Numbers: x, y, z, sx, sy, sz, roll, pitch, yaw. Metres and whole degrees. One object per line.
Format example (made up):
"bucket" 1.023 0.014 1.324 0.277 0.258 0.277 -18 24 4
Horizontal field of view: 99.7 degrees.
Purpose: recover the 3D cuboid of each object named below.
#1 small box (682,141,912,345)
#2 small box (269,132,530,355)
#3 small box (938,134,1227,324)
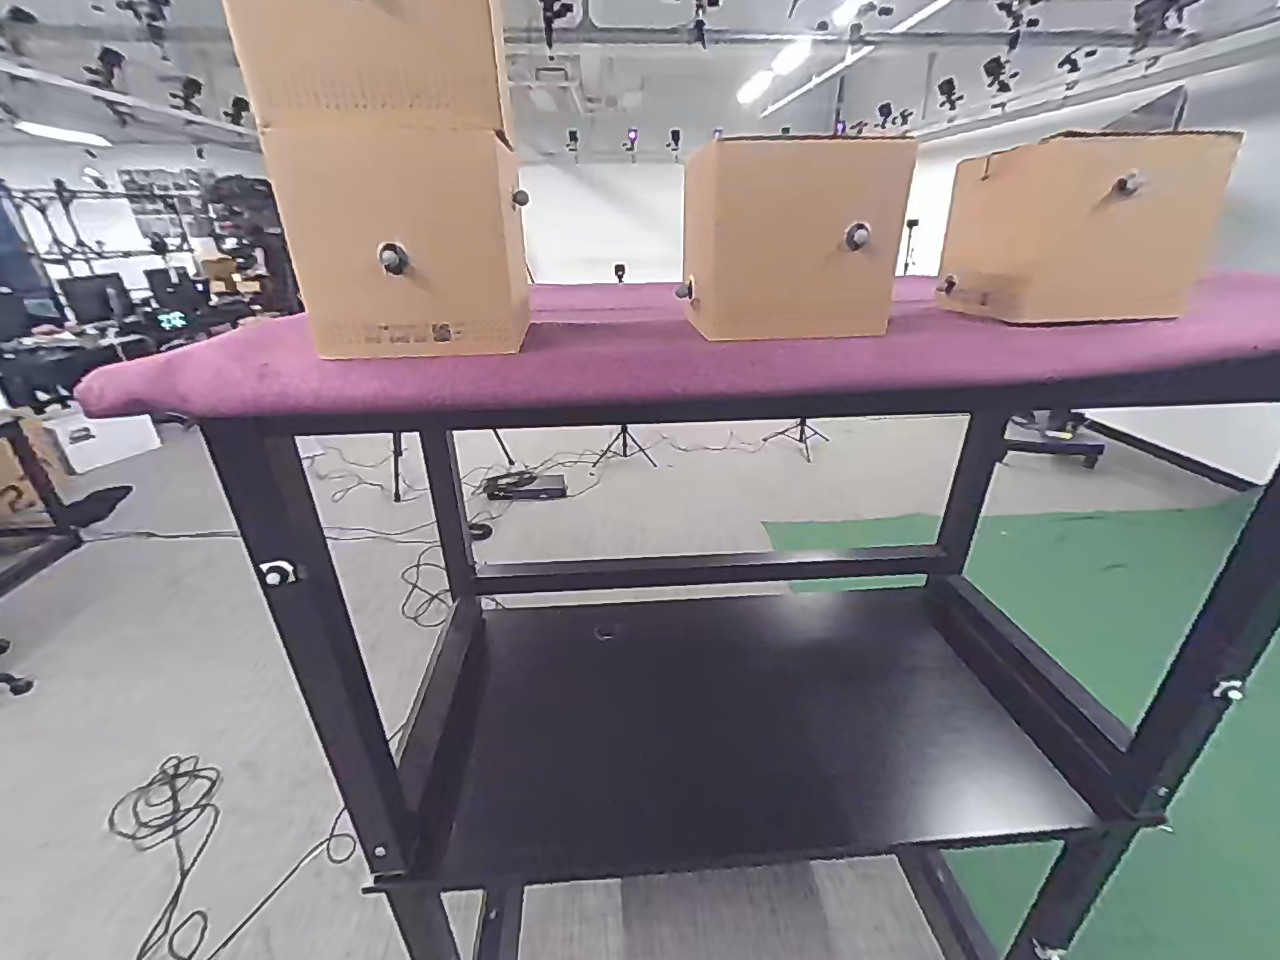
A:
"small box" 0.141 -0.240 0.558 0.179 0.176 0.168 -4 25 -4
"small box" -0.197 -0.216 0.506 0.168 0.176 0.179 -2 26 -6
"small box" 0.461 -0.268 0.602 0.179 0.176 0.168 -2 23 -2
